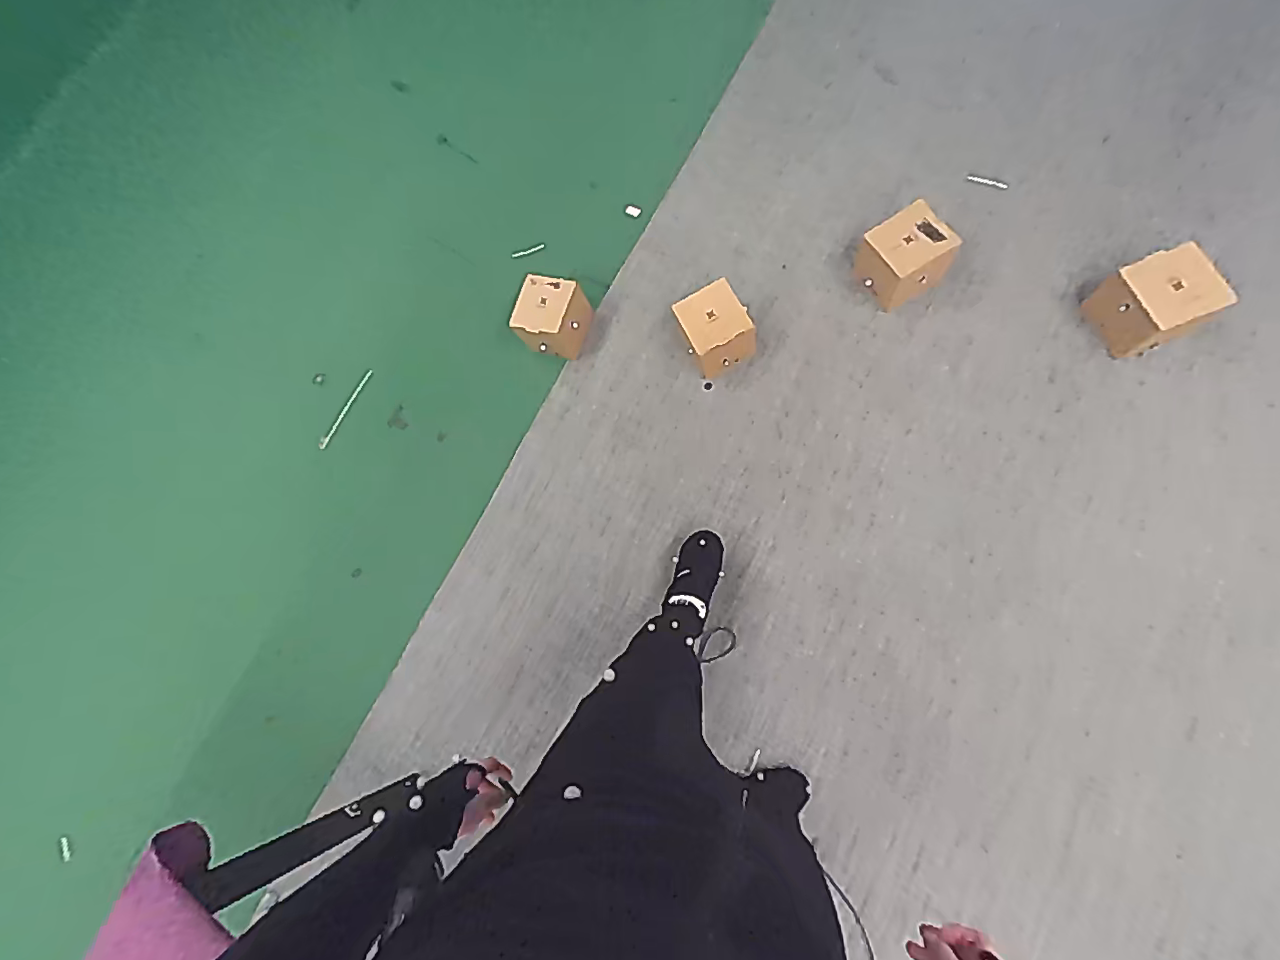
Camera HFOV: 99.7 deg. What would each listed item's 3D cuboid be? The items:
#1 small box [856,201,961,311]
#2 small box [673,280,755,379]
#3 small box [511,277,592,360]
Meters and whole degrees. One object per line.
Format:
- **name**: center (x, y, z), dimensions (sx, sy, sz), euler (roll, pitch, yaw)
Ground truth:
- **small box**: center (0.709, -0.595, 1.454), dimensions (0.179, 0.176, 0.168), euler (-31, 71, 5)
- **small box**: center (0.212, -0.419, 1.528), dimensions (0.168, 0.176, 0.179), euler (-28, 73, 5)
- **small box**: center (-0.263, -0.489, 1.655), dimensions (0.168, 0.176, 0.179), euler (15, 80, 16)
